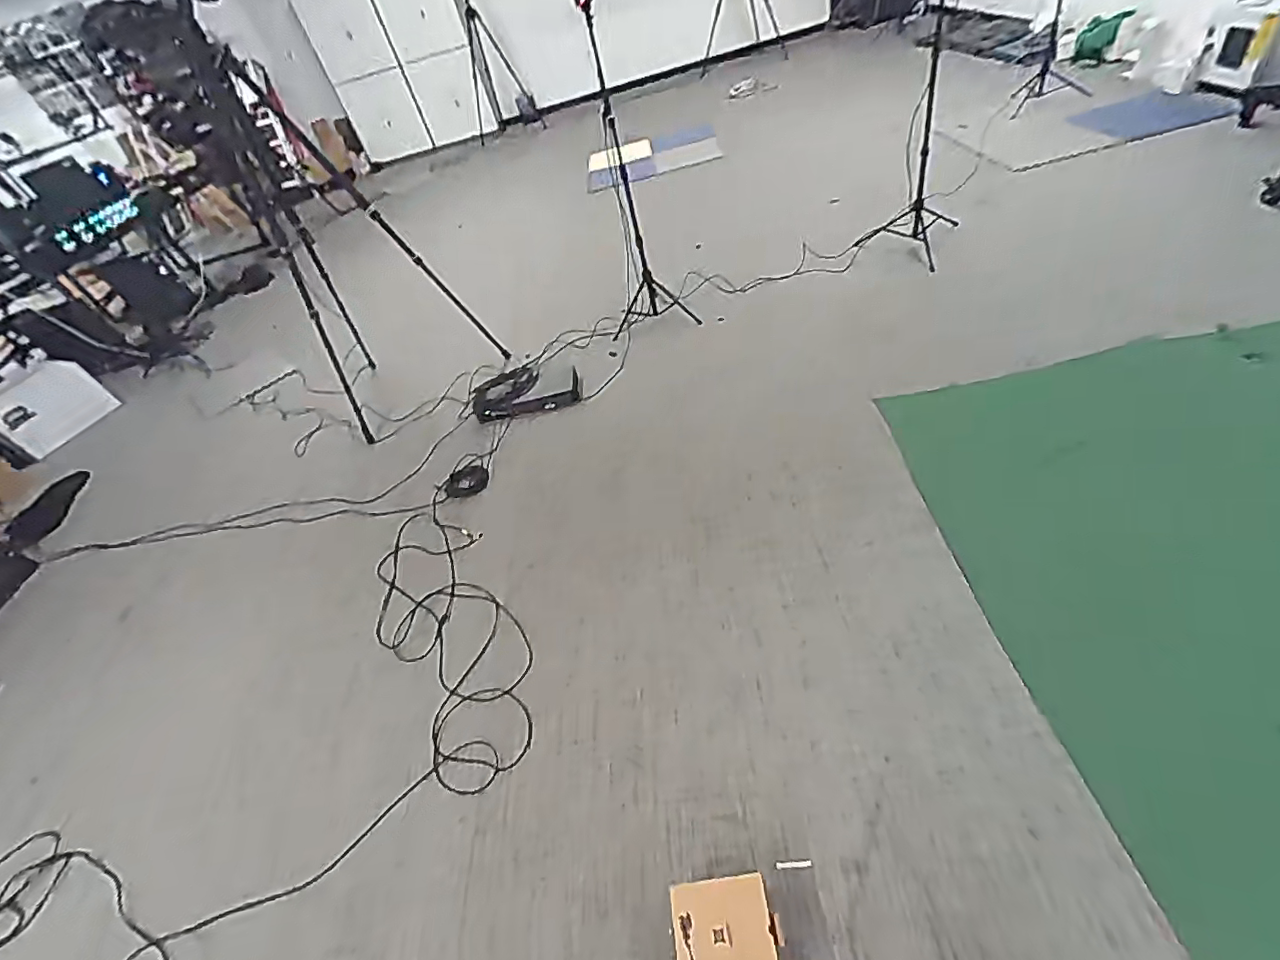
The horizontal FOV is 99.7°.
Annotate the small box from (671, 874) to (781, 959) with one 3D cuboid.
[{"bbox_3d":[0.163,0.848,0.997,0.179,0.176,0.168,-13,45,5],"label":"small box"}]
